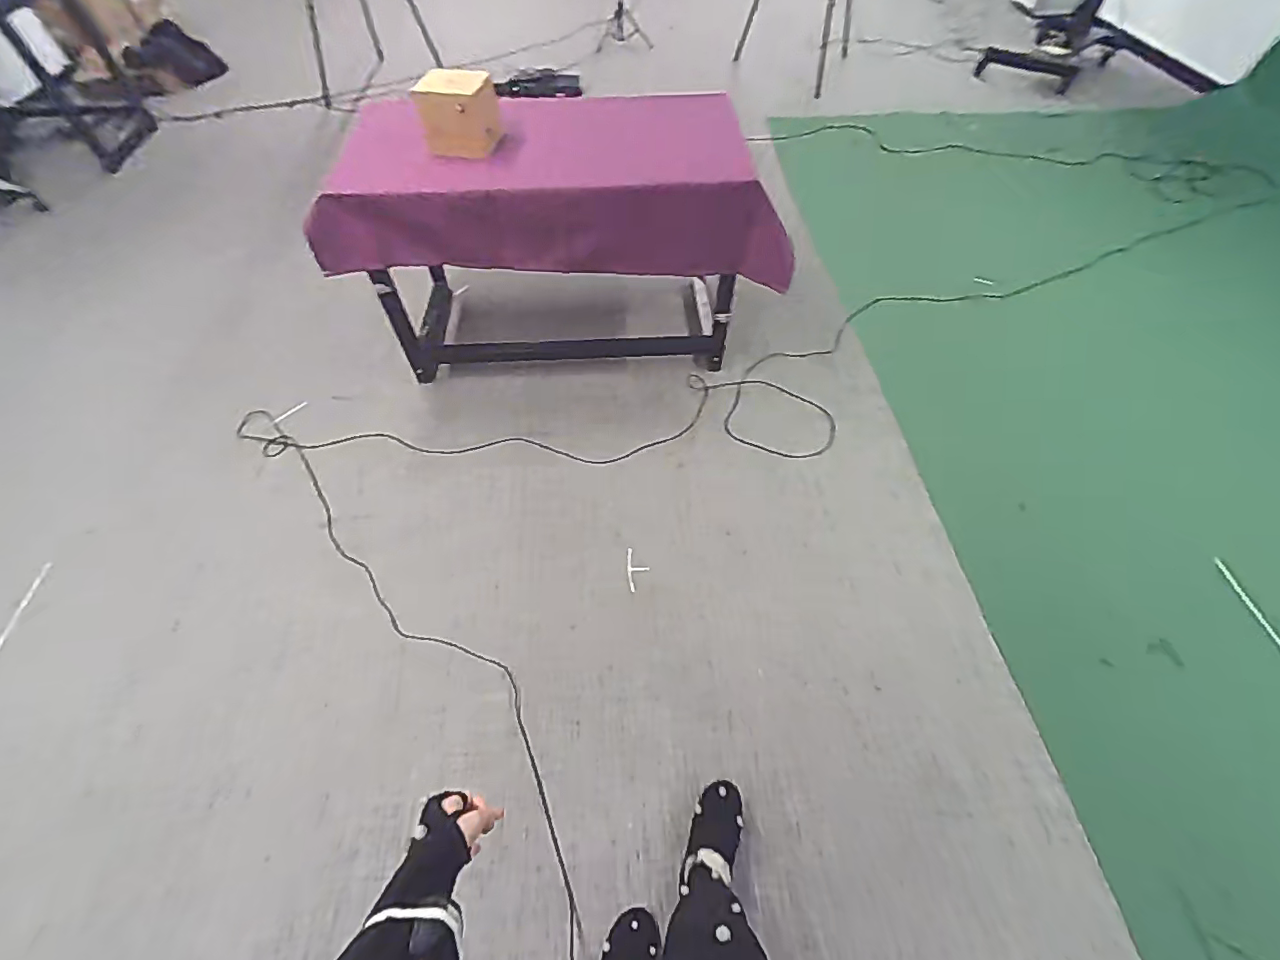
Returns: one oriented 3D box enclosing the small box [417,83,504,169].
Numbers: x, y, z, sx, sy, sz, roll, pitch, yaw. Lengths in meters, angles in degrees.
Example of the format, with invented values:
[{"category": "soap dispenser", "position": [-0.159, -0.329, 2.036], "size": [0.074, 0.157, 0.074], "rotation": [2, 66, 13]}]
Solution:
[{"category": "small box", "position": [-0.523, -1.046, 1.603], "size": [0.179, 0.176, 0.168], "rotation": [7, 54, 4]}]
